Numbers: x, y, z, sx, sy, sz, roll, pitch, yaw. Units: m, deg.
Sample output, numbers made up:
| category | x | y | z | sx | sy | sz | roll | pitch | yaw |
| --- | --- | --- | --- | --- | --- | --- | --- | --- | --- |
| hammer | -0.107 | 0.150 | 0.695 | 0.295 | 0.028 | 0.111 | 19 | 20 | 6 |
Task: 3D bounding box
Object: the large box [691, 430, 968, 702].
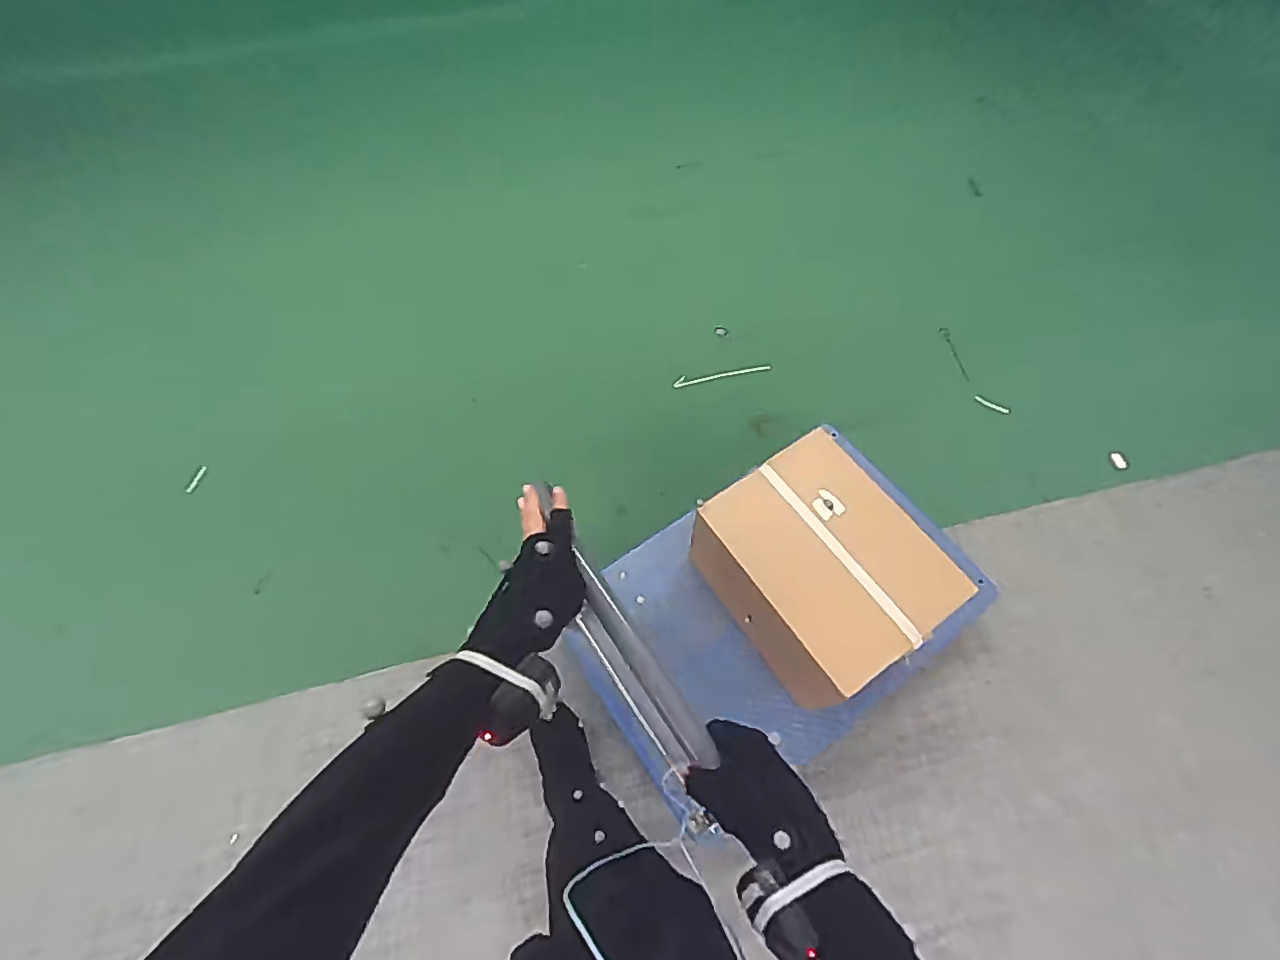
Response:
| category | x | y | z | sx | sy | sz | roll | pitch | yaw |
| --- | --- | --- | --- | --- | --- | --- | --- | --- | --- |
| large box | 0.346 | 0.185 | 1.116 | 0.320 | 0.320 | 0.408 | -32 | 66 | -13 |
